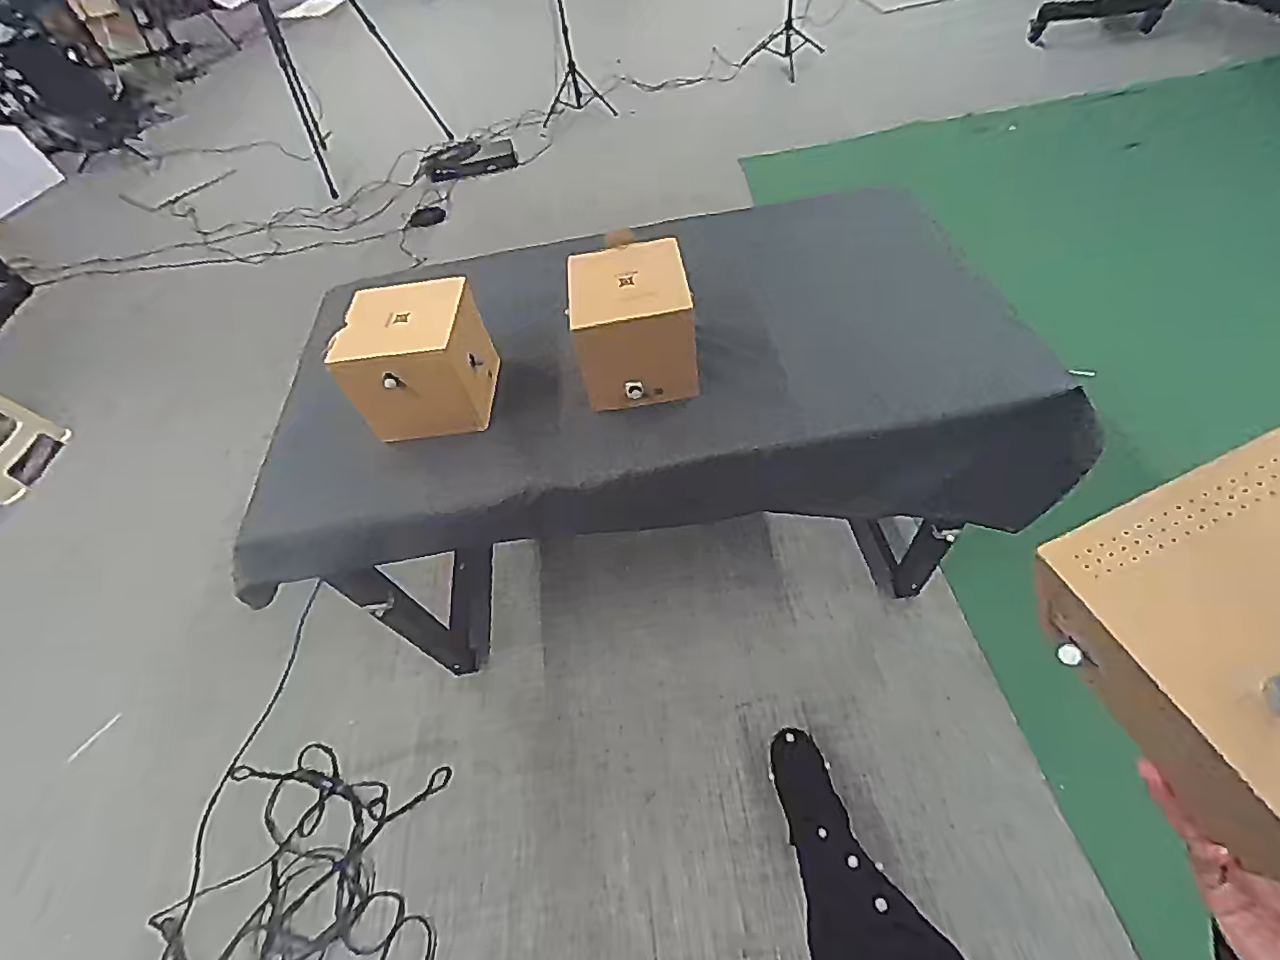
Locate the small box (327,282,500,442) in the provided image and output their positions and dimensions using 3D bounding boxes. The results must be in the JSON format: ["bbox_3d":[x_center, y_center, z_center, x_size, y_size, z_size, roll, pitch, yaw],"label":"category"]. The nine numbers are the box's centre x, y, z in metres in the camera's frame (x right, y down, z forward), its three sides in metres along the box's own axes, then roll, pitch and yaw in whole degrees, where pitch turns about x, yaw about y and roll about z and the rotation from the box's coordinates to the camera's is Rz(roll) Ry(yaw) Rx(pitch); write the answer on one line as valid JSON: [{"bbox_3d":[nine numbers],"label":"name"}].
[{"bbox_3d":[-0.328,-0.176,0.830,0.179,0.176,0.168,-5,53,4],"label":"small box"}]

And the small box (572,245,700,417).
[{"bbox_3d":[-0.004,-0.221,0.819,0.168,0.176,0.179,-10,53,2],"label":"small box"}]
